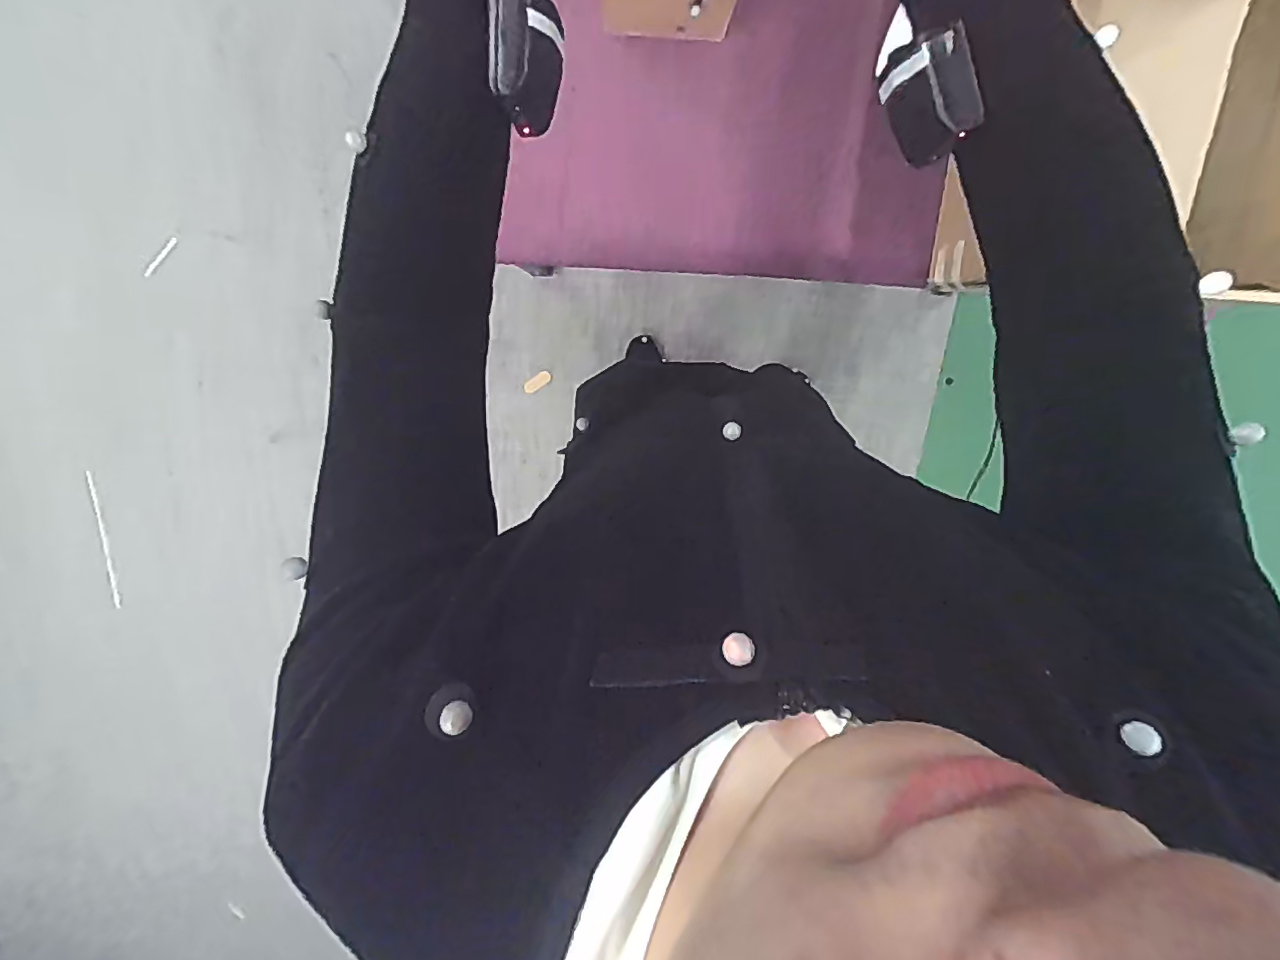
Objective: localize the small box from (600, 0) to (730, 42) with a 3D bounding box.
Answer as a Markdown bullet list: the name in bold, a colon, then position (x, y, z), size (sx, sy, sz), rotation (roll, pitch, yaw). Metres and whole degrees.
- **small box**: position (0.035, -0.664, 0.642), size (0.168, 0.176, 0.179), rotation (3, 105, -2)
